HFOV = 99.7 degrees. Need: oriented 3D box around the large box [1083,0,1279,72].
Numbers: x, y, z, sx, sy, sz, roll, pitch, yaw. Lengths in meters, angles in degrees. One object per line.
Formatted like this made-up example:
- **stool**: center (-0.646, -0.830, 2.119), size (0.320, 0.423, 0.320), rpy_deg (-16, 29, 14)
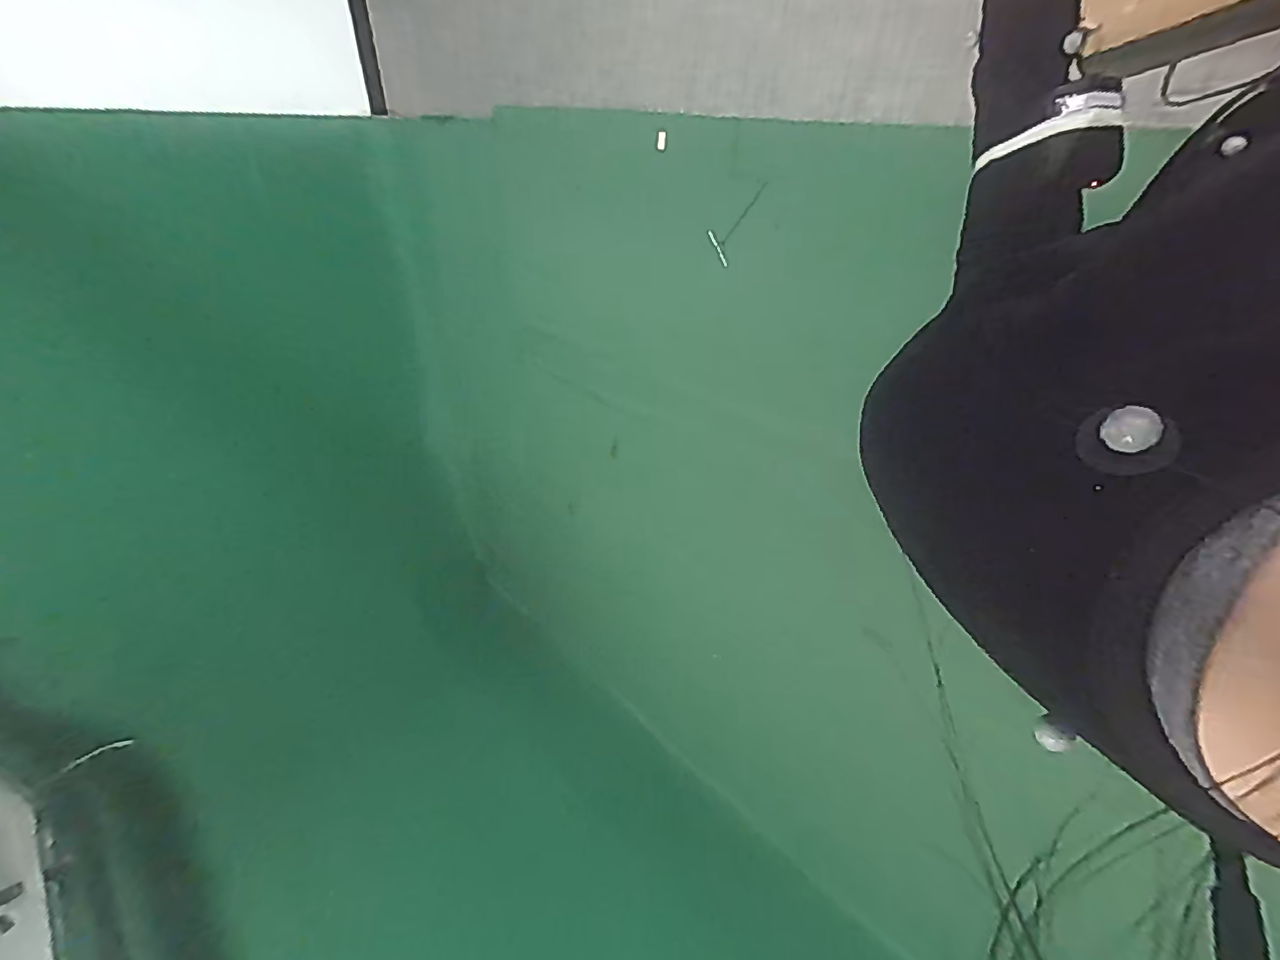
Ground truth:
- **large box**: center (0.526, -0.508, 0.312), size (0.408, 0.320, 0.320), rpy_deg (3, 117, 41)
